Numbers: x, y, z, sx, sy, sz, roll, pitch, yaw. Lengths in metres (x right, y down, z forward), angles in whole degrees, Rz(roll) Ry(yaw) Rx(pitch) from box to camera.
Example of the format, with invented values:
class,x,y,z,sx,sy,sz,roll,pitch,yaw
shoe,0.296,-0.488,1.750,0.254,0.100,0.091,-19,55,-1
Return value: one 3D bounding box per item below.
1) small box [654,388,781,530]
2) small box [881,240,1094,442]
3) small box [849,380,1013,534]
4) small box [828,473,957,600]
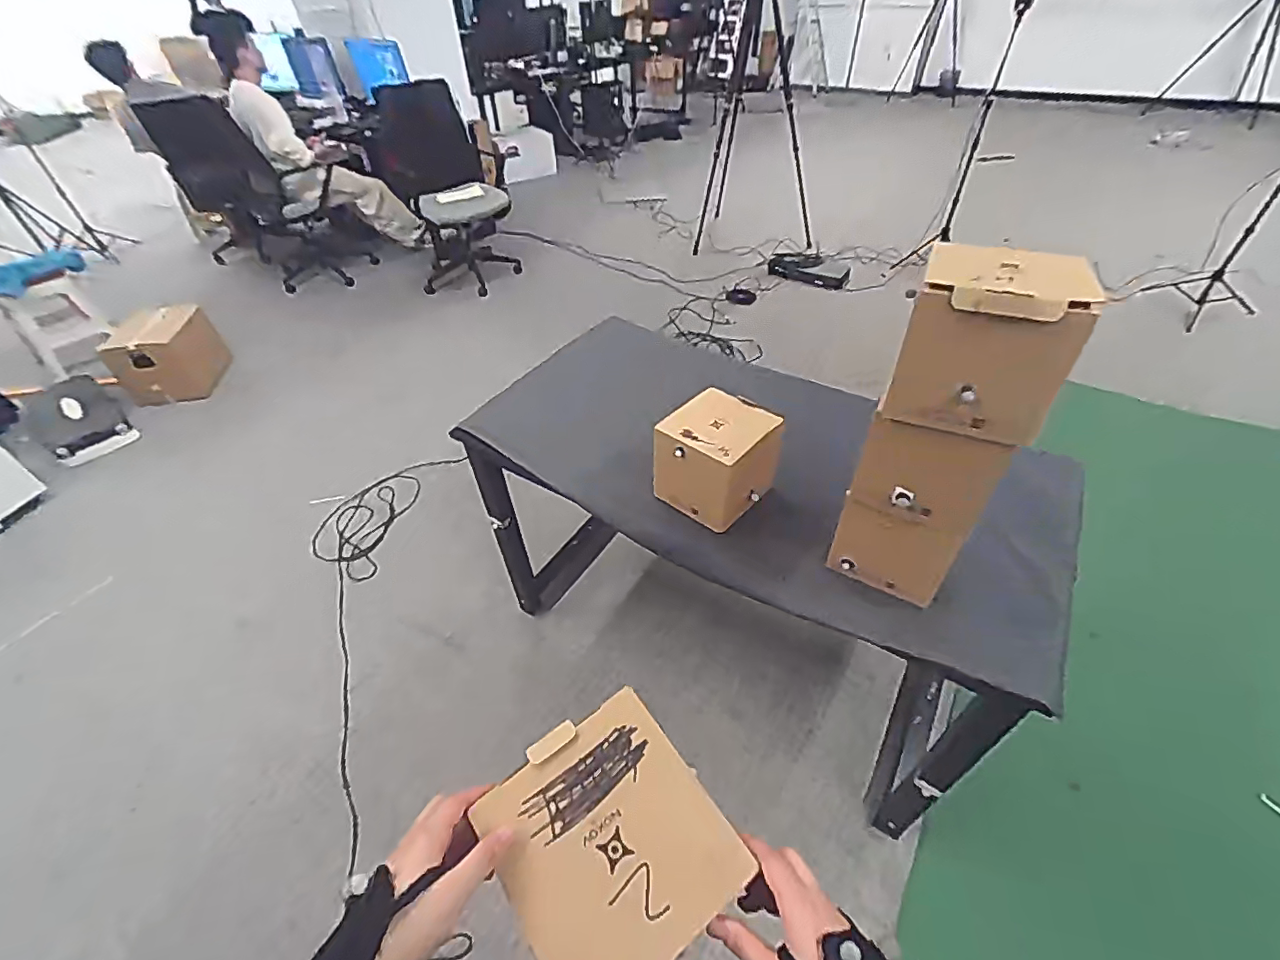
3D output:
class,x,y,z,sx,sy,sz,roll,pitch,yaw
small box,0.138,-0.041,1.014,0.168,0.176,0.179,30,50,30
small box,0.408,-0.174,0.660,0.168,0.176,0.179,16,44,22
small box,0.416,-0.056,0.776,0.168,0.176,0.179,19,46,23
small box,0.422,0.063,0.887,0.168,0.176,0.179,23,46,25
